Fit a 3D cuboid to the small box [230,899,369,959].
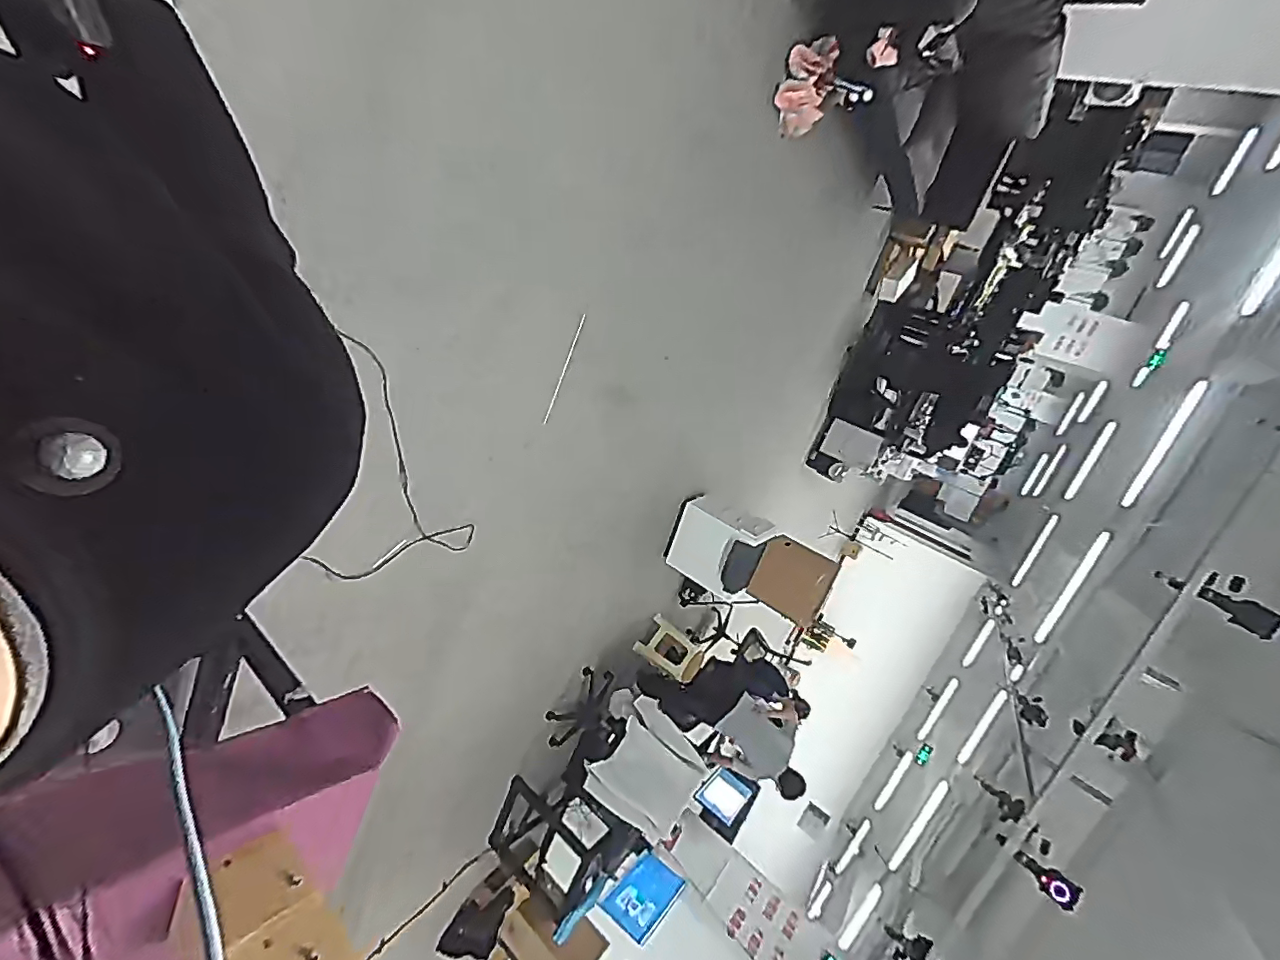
[{"bbox_3d":[-0.613,0.897,0.953,0.168,0.176,0.179,-4,121,-56],"label":"small box"}]
